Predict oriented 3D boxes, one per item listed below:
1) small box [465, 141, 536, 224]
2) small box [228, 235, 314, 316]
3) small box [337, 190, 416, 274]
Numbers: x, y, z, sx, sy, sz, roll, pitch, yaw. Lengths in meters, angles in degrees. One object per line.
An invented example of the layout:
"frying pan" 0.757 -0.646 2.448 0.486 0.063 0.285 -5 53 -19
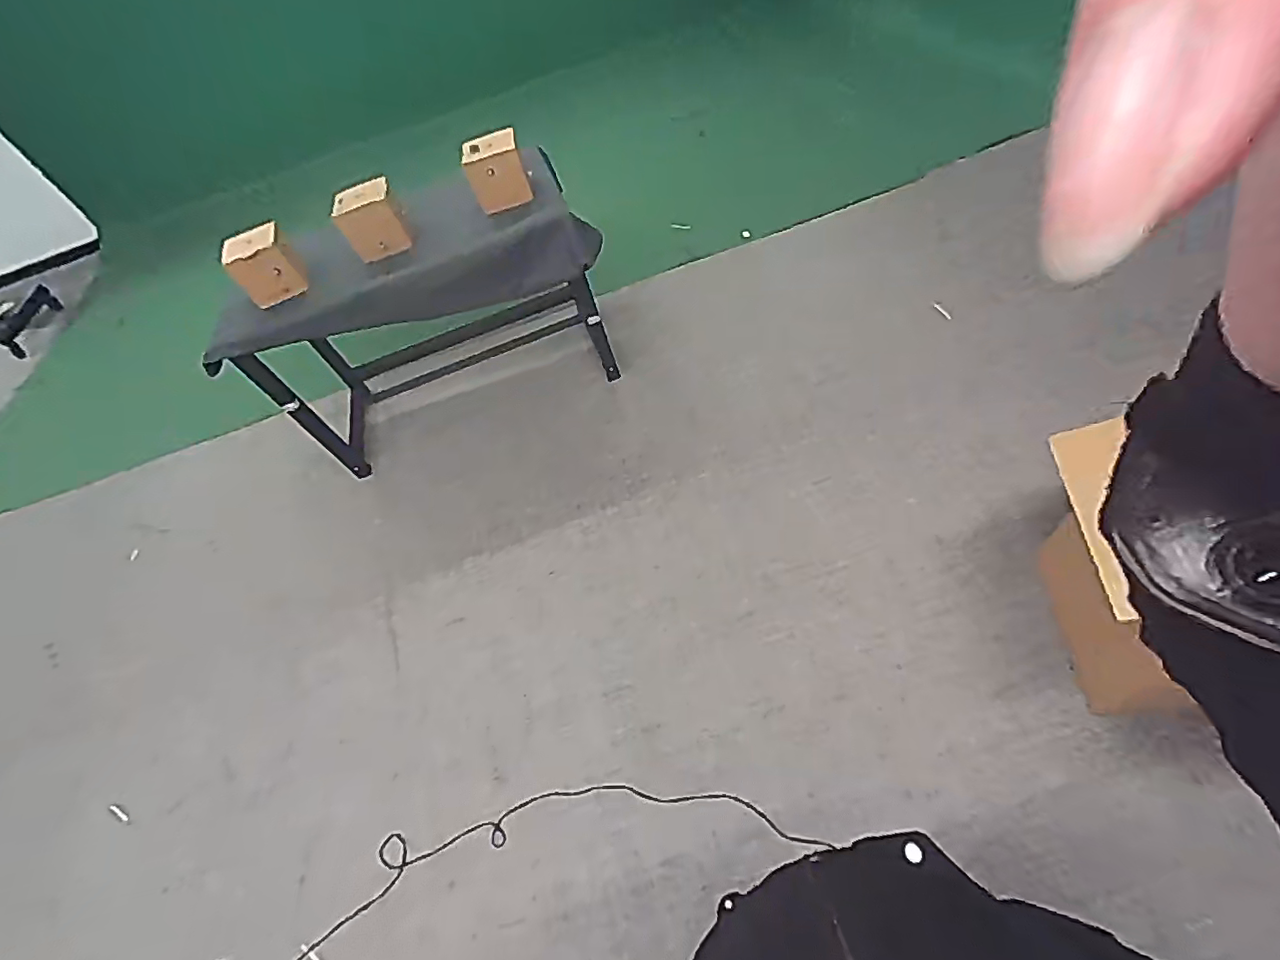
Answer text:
"small box" -0.462 -0.983 1.796 0.179 0.176 0.168 -16 52 3
"small box" -1.194 -0.659 1.762 0.168 0.176 0.179 -26 50 -7
"small box" -0.860 -0.816 1.785 0.179 0.176 0.168 -19 51 0
